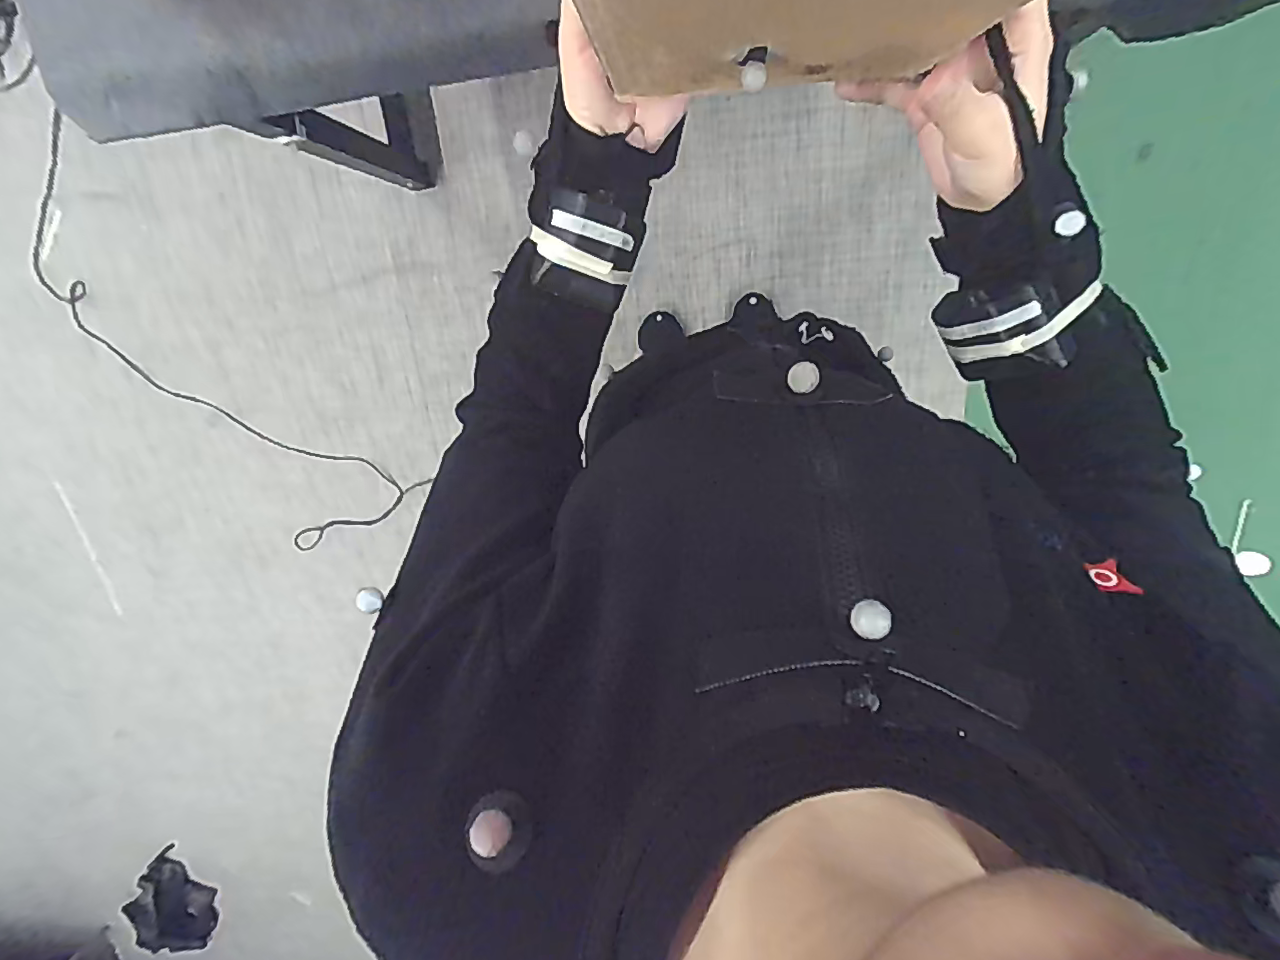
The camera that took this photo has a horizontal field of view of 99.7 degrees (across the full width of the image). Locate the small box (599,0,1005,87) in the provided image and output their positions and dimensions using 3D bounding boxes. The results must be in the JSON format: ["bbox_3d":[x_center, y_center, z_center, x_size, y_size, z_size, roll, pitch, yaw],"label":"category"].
[{"bbox_3d":[0.058,-0.259,0.177,0.168,0.176,0.179,-3,116,4],"label":"small box"}]
